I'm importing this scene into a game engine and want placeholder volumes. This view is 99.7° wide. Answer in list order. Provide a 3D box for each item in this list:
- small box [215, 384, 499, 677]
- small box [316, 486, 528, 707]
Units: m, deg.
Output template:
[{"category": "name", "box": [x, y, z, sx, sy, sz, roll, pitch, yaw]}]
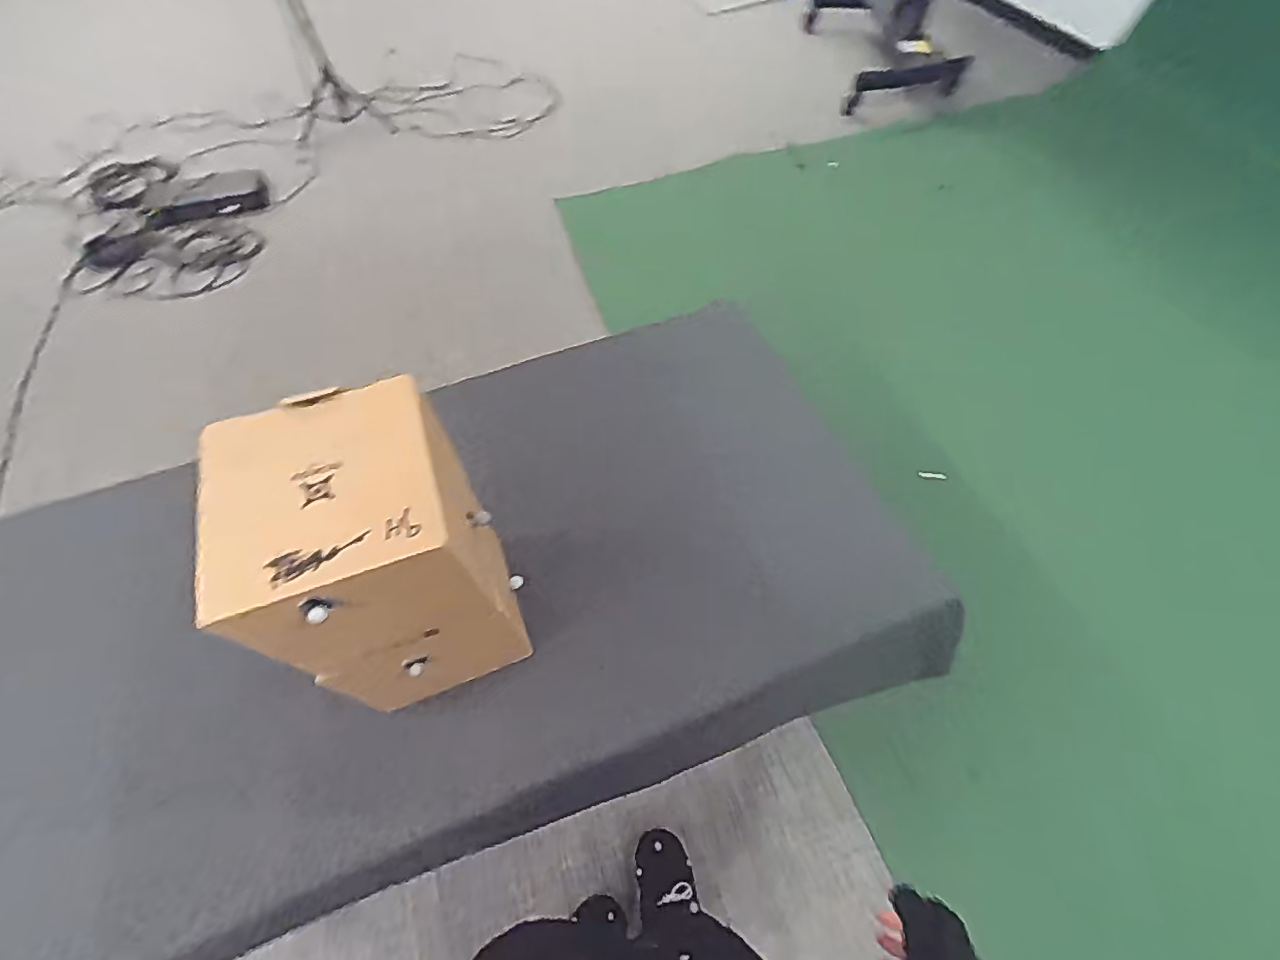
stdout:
[{"category": "small box", "box": [-0.242, 0.049, 0.488, 0.168, 0.176, 0.179, -20, 61, -13]}, {"category": "small box", "box": [-0.245, 0.140, 0.621, 0.179, 0.176, 0.168, -19, 60, -12]}]
